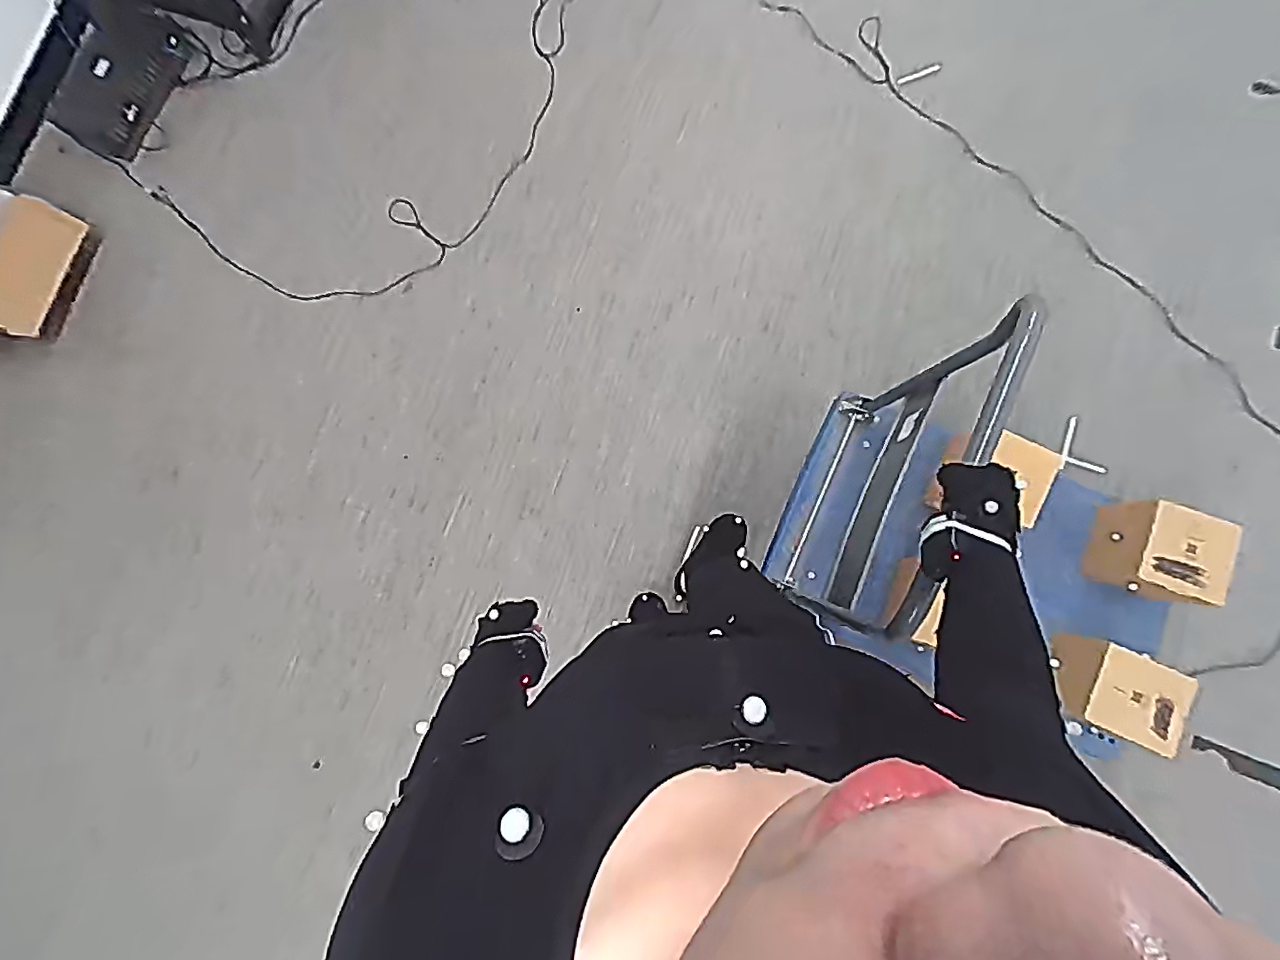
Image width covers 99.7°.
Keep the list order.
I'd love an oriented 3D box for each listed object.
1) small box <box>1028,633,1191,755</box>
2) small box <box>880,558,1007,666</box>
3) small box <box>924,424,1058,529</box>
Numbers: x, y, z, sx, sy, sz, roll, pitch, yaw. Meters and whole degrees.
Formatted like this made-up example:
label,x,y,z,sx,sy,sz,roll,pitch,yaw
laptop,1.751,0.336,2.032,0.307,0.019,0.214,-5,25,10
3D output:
label,x,y,z,sx,sy,sz,roll,pitch,yaw
small box,0.993,0.445,1.159,0.179,0.176,0.168,25,85,7
small box,0.660,0.282,1.199,0.168,0.176,0.179,22,84,6
small box,0.785,-0.001,1.231,0.168,0.176,0.179,27,86,6
